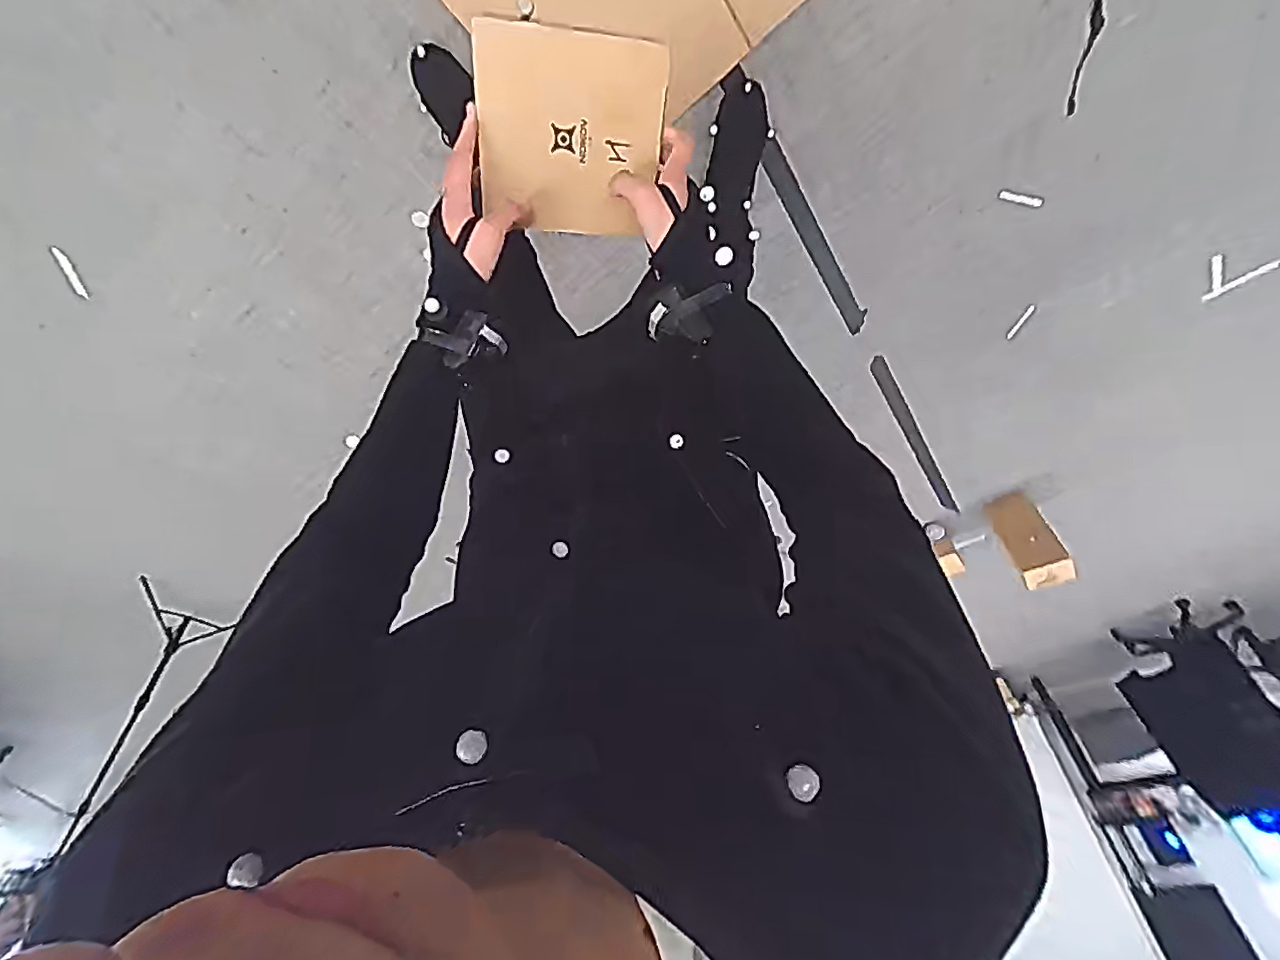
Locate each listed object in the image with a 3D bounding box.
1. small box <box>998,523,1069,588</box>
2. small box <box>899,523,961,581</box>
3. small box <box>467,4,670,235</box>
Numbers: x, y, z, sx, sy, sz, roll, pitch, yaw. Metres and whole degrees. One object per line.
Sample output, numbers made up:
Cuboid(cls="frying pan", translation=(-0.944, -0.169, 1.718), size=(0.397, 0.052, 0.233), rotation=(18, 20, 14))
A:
Cuboid(cls="small box", translation=(1.545, 0.297, 2.127), size=(0.168, 0.176, 0.179), rotation=(-28, 133, 24))
Cuboid(cls="small box", translation=(1.270, 0.312, 2.375), size=(0.168, 0.176, 0.179), rotation=(-30, 133, 27))
Cuboid(cls="small box", translation=(-0.081, -0.378, 0.571), size=(0.179, 0.176, 0.168), rotation=(0, 131, -13))
